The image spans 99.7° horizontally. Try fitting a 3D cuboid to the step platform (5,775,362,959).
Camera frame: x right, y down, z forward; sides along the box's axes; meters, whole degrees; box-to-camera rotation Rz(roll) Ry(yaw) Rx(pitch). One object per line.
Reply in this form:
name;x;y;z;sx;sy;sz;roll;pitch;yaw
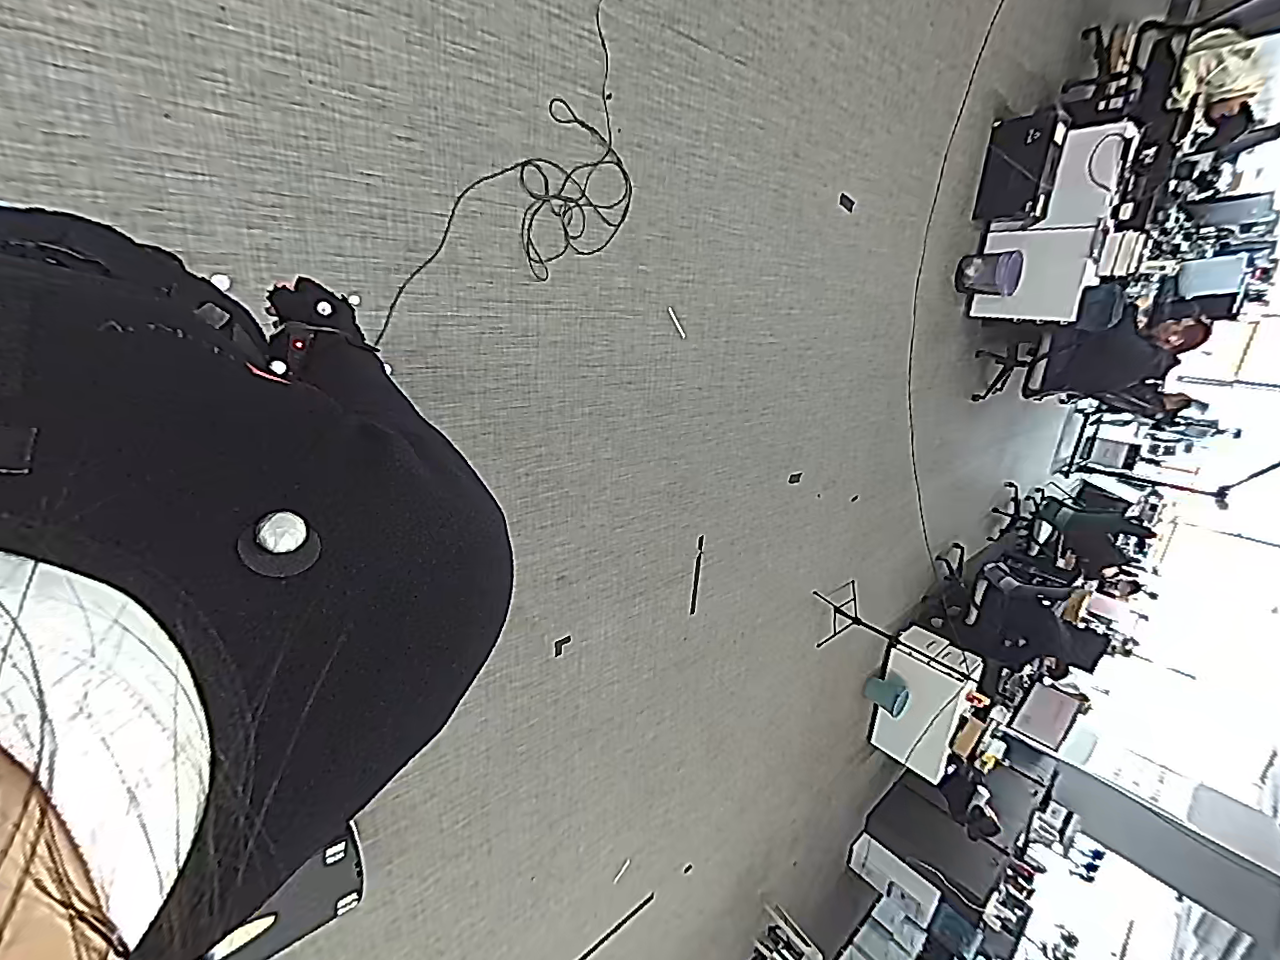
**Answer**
step platform;-1.083;1.068;1.361;0.684;0.204;0.286;-14;115;-38
